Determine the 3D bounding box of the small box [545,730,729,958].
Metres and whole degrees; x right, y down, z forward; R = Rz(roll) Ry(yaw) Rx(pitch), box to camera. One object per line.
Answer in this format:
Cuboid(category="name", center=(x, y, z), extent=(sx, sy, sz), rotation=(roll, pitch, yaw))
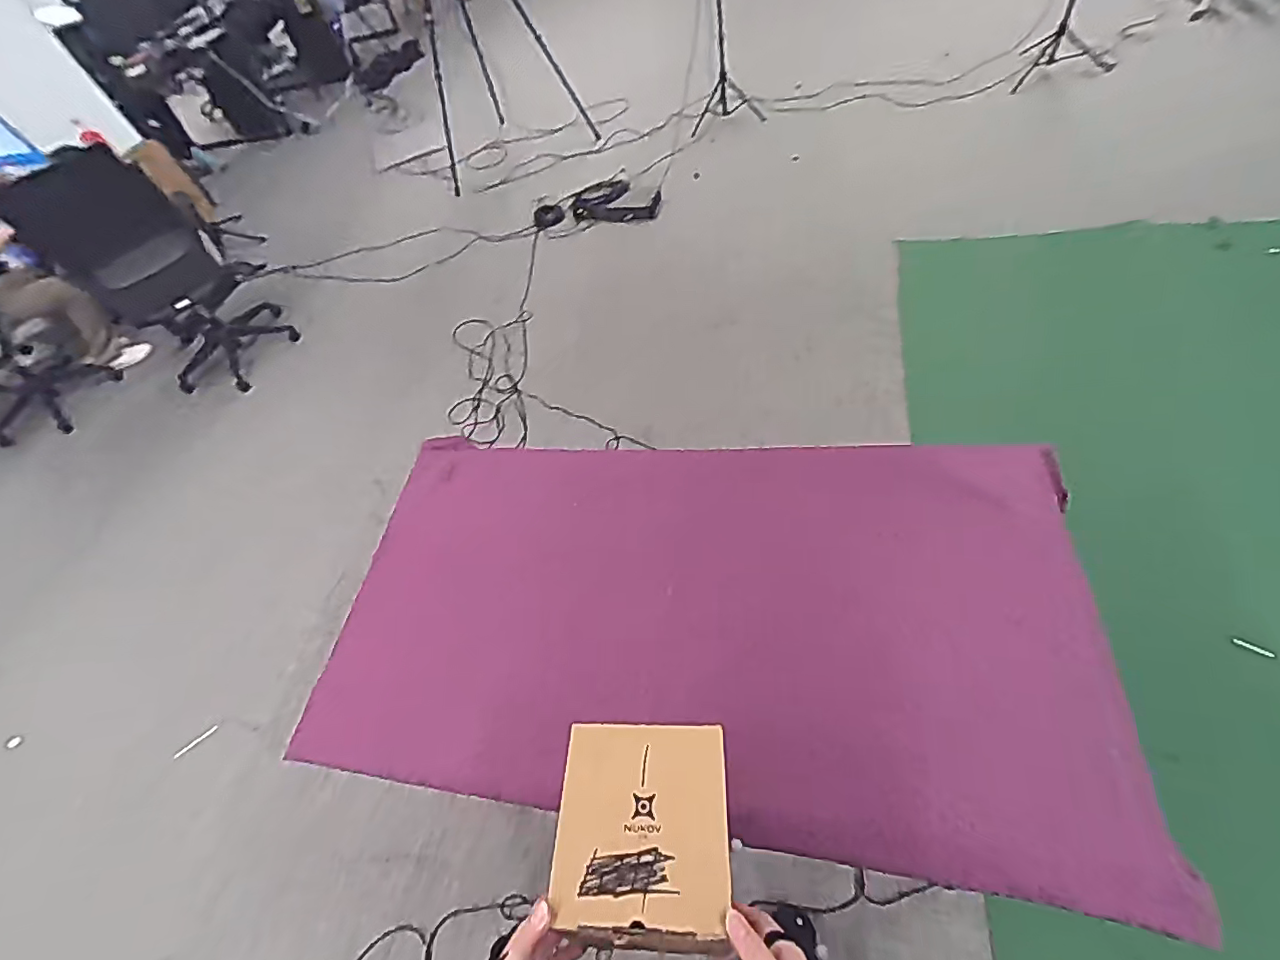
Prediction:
Cuboid(category="small box", center=(0.008, 0.389, 0.579), extent=(0.168, 0.176, 0.179), rotation=(-1, 45, 5))
